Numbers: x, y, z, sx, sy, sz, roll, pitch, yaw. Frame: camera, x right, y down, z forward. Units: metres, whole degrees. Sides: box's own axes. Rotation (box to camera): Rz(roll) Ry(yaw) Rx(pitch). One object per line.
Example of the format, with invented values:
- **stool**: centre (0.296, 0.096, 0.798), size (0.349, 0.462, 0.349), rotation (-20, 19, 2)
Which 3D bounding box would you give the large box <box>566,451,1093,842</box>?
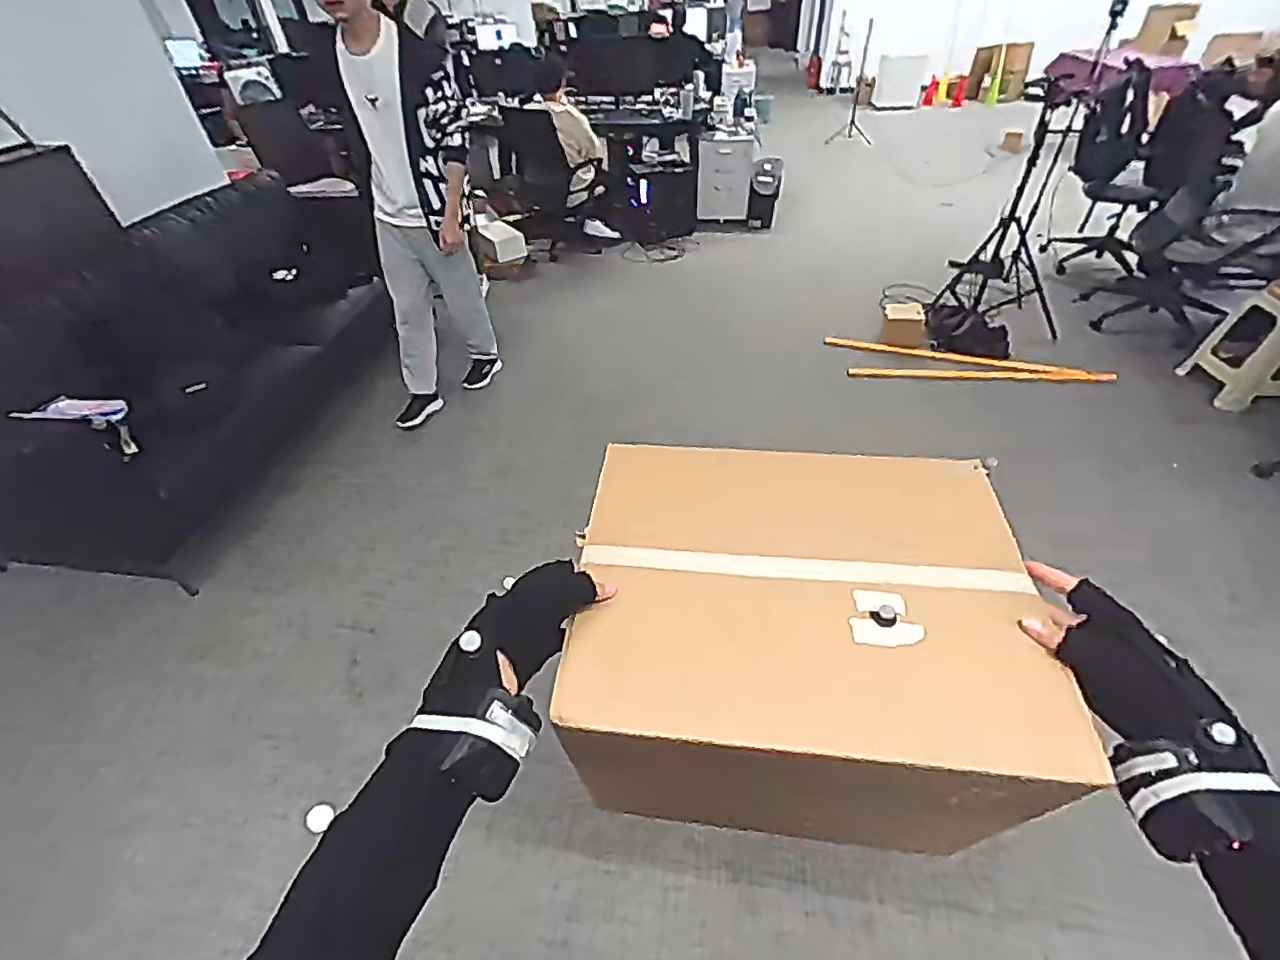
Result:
- **large box**: centre (0.154, 0.187, 0.619), size (0.408, 0.320, 0.320), rotation (4, 48, 6)
